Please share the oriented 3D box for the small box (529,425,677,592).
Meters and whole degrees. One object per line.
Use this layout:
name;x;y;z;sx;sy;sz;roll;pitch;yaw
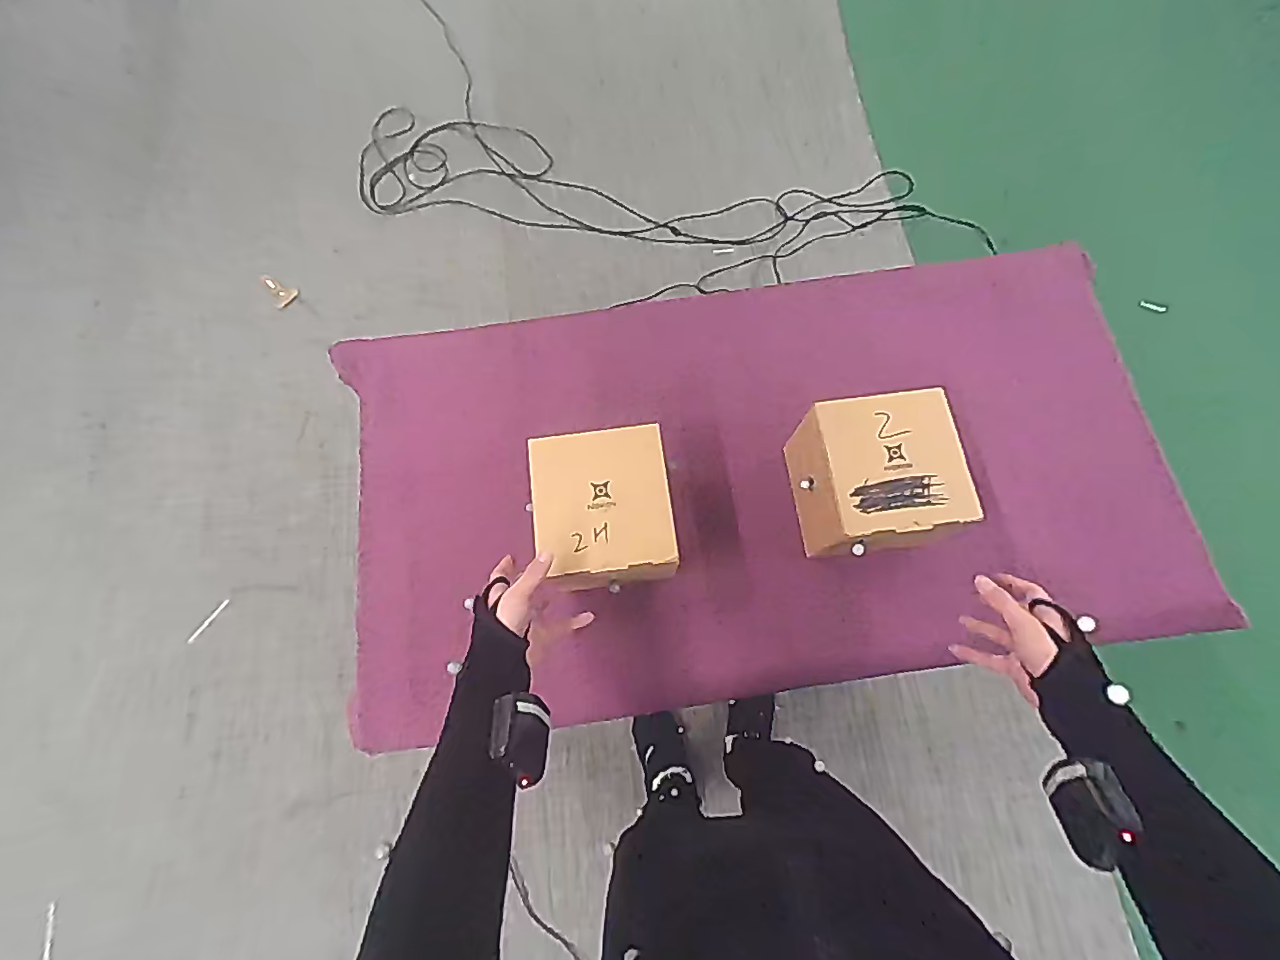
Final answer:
small box;-0.047;0.045;0.713;0.168;0.176;0.179;-7;74;-1
